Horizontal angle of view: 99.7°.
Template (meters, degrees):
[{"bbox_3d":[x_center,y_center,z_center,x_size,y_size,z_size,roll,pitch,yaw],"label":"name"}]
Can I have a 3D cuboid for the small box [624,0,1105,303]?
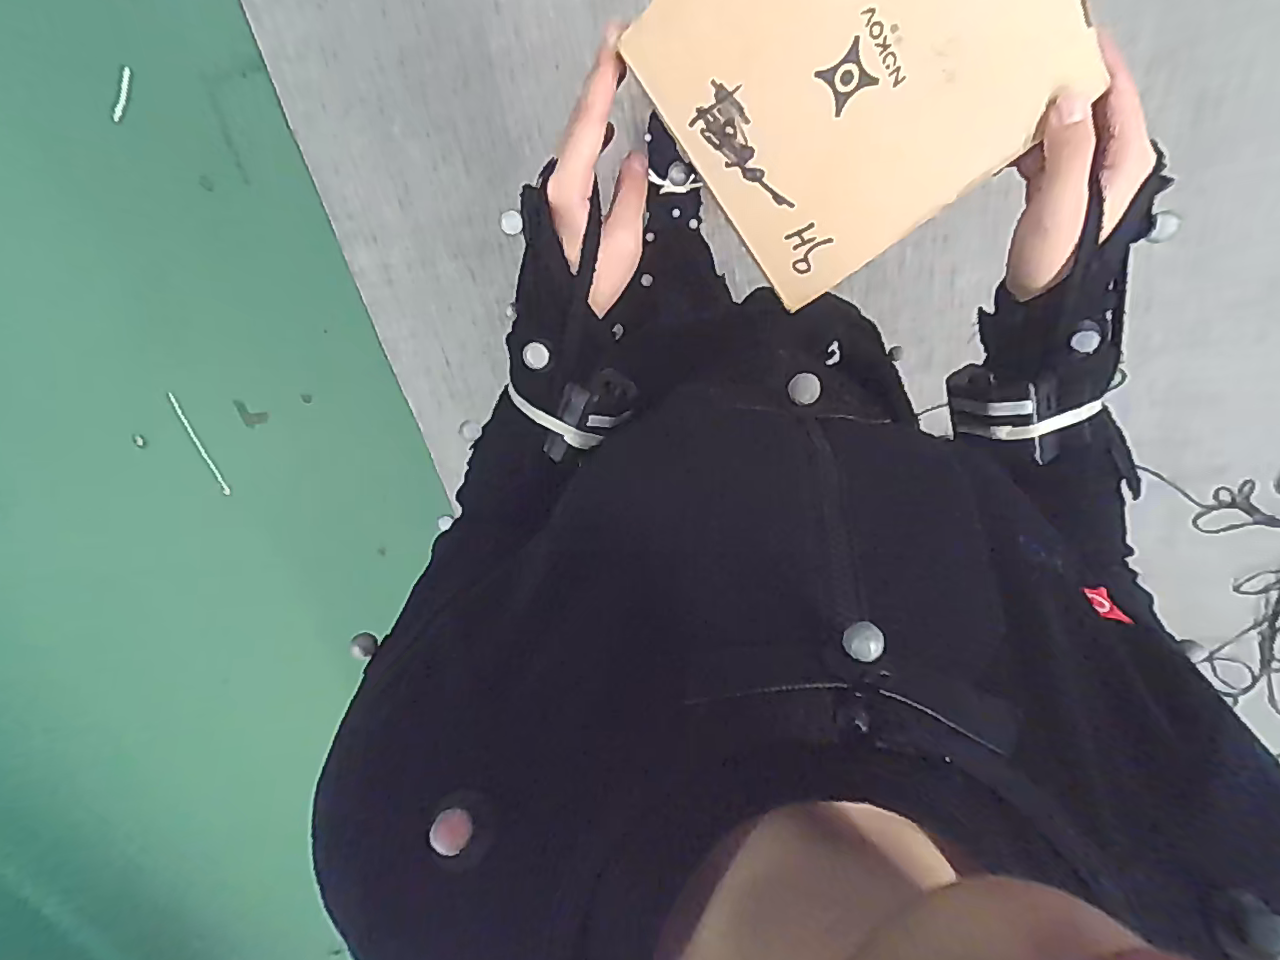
[{"bbox_3d":[0.106,-0.243,0.319,0.179,0.176,0.168,-33,117,21],"label":"small box"}]
